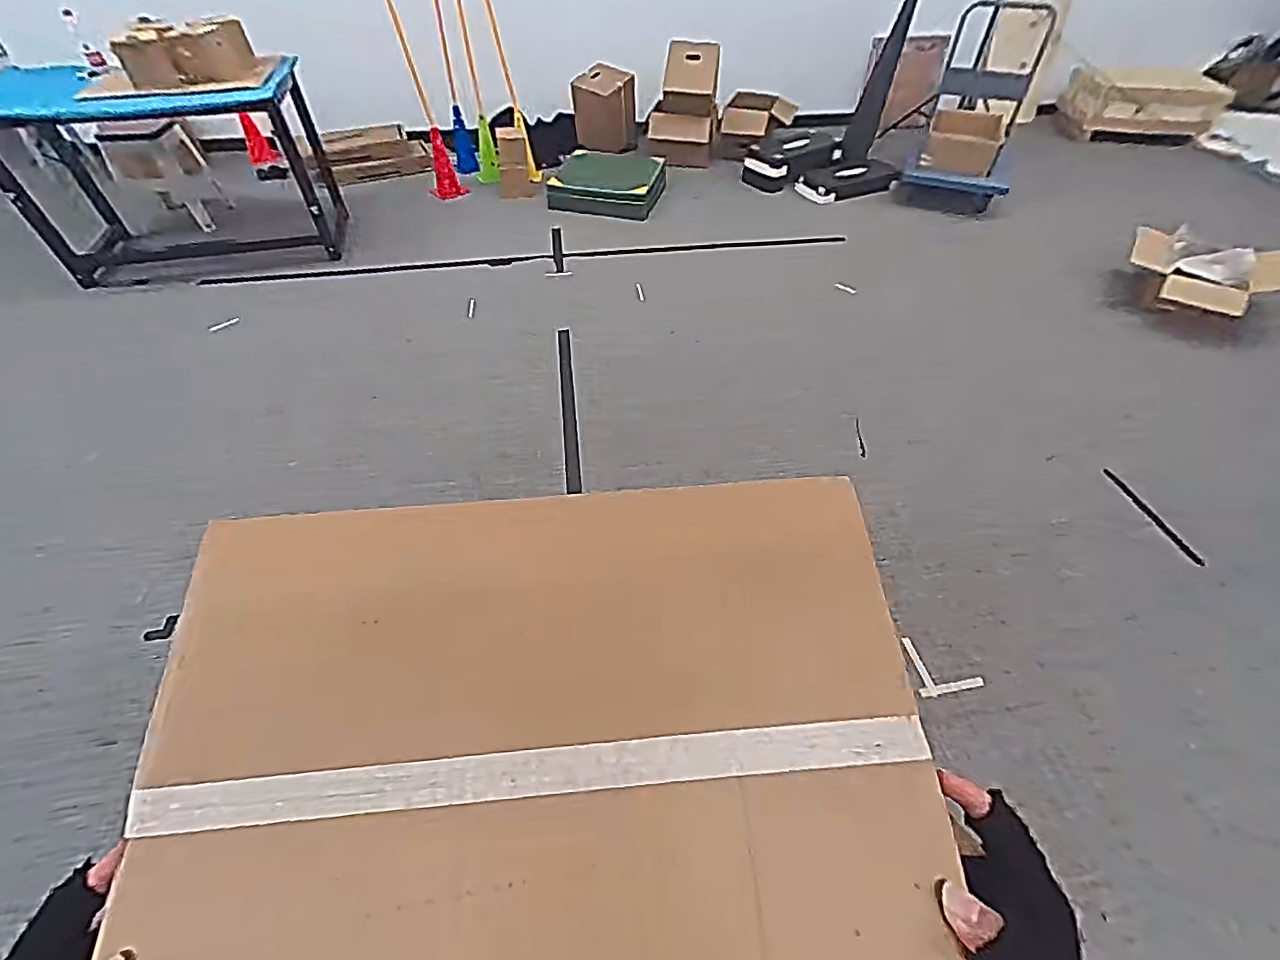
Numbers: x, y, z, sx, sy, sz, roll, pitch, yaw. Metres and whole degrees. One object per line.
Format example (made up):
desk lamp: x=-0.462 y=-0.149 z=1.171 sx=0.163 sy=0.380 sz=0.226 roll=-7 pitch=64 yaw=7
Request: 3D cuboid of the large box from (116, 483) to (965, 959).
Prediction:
large box: x=-0.055 y=0.221 z=0.422 sx=0.408 sy=0.320 sz=0.320 roll=-4 pitch=65 yaw=-3
